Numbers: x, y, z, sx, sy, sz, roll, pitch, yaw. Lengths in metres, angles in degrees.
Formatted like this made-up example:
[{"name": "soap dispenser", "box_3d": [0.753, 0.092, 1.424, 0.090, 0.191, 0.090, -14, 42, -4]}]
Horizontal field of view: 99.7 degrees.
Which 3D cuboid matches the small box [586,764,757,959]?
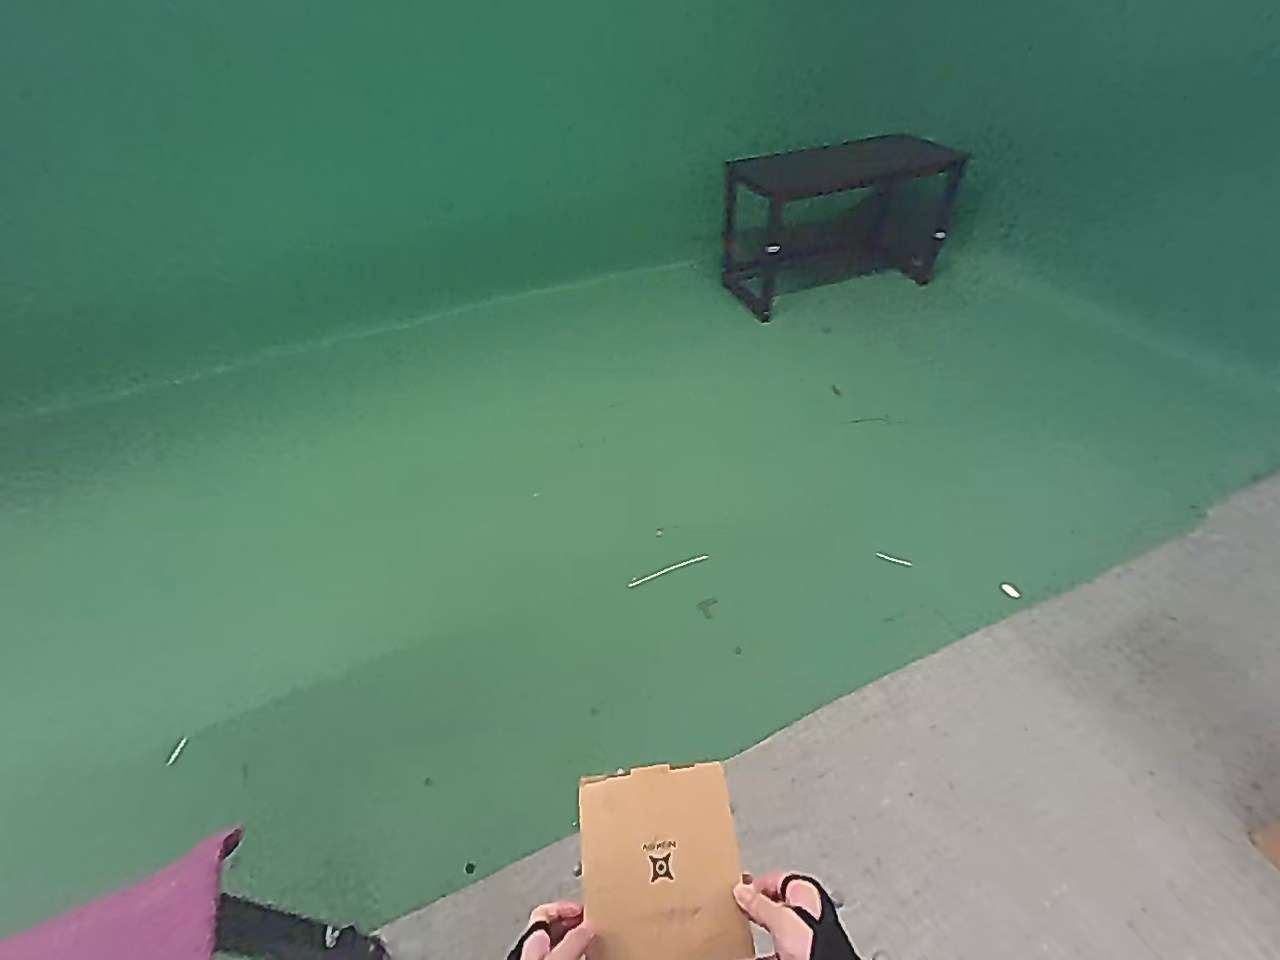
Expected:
[{"name": "small box", "box_3d": [0.025, 0.446, 0.627, 0.168, 0.176, 0.179, -5, 54, -2]}]
